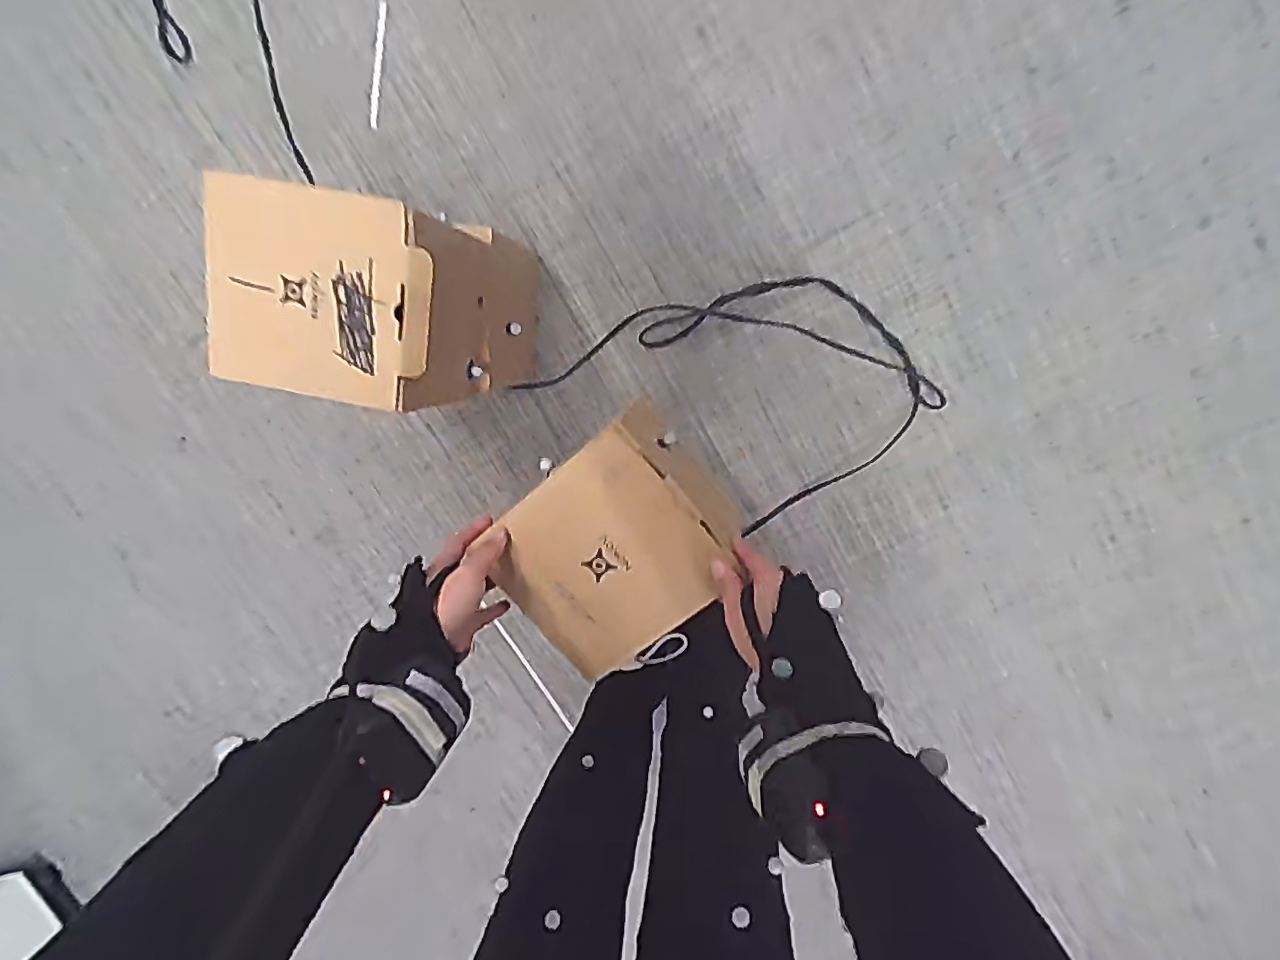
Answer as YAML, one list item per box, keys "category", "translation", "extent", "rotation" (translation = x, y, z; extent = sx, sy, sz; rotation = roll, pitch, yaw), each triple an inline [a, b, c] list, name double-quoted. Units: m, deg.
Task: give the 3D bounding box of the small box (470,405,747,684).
- category: "small box"
  translation: [-0.020, 0.047, 0.519]
  extent: [0.179, 0.176, 0.168]
  rotation: [-39, 96, 16]

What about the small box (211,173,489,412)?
- category: "small box"
  translation: [-0.263, -0.171, 0.524]
  extent: [0.179, 0.176, 0.168]
  rotation: [12, 104, 4]

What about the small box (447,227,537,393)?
- category: "small box"
  translation: [-0.234, -0.212, 0.681]
  extent: [0.168, 0.176, 0.179]
  rotation: [6, 105, 5]
